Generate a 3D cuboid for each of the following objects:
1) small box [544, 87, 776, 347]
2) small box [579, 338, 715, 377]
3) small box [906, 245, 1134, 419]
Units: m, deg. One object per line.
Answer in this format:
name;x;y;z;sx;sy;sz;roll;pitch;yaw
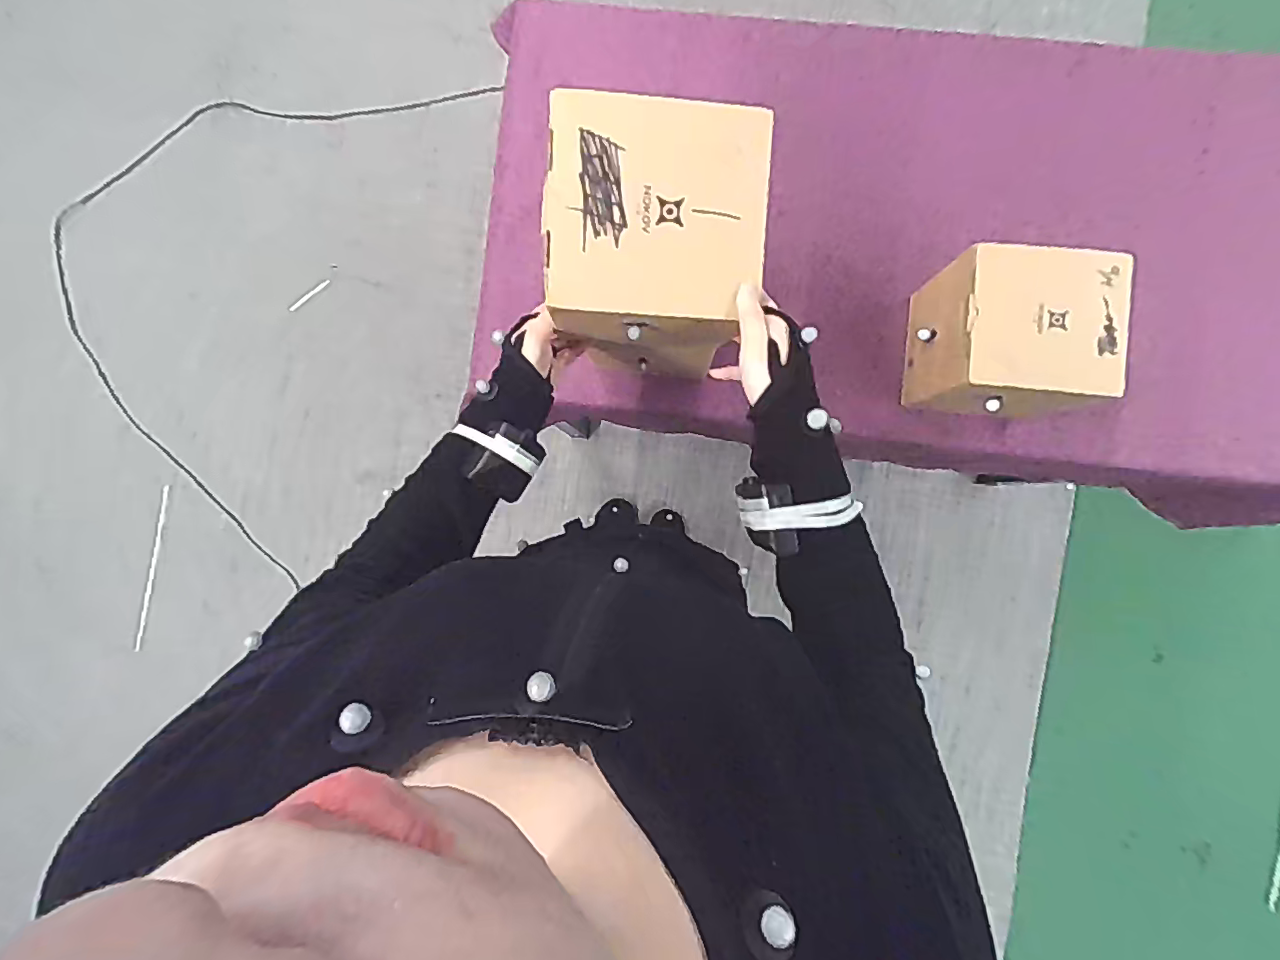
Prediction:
small box;0.009;-0.221;0.503;0.179;0.176;0.168;3;97;-6
small box;0.021;-0.242;0.710;0.168;0.176;0.179;7;88;2
small box;0.463;-0.176;0.687;0.179;0.176;0.168;6;88;3
